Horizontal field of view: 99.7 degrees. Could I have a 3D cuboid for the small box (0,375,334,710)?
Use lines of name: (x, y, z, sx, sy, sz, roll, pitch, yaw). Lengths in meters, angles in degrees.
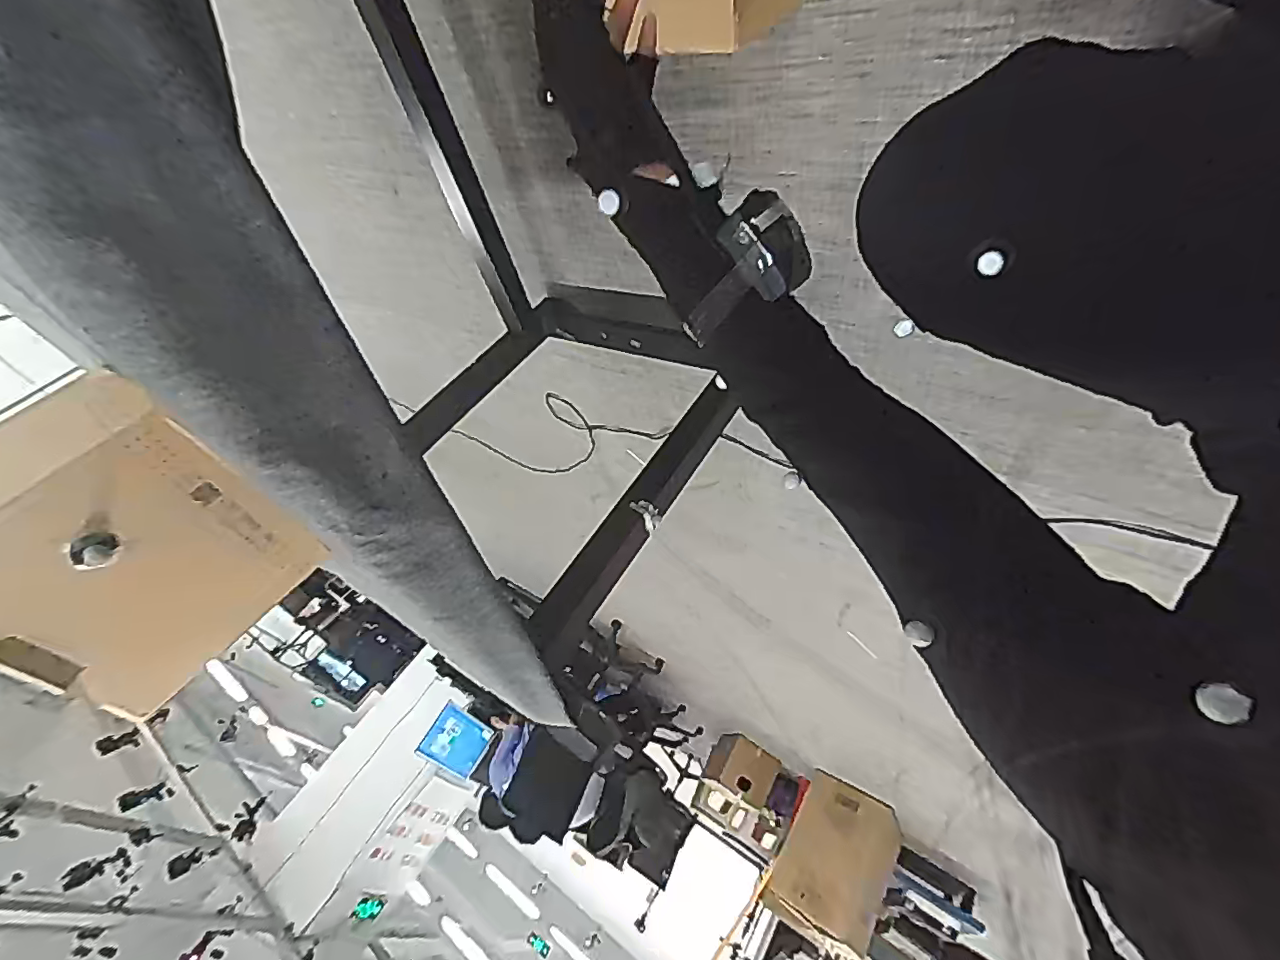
small box: (-0.385, 0.037, 0.427, 0.179, 0.176, 0.168, 20, 146, 36)
